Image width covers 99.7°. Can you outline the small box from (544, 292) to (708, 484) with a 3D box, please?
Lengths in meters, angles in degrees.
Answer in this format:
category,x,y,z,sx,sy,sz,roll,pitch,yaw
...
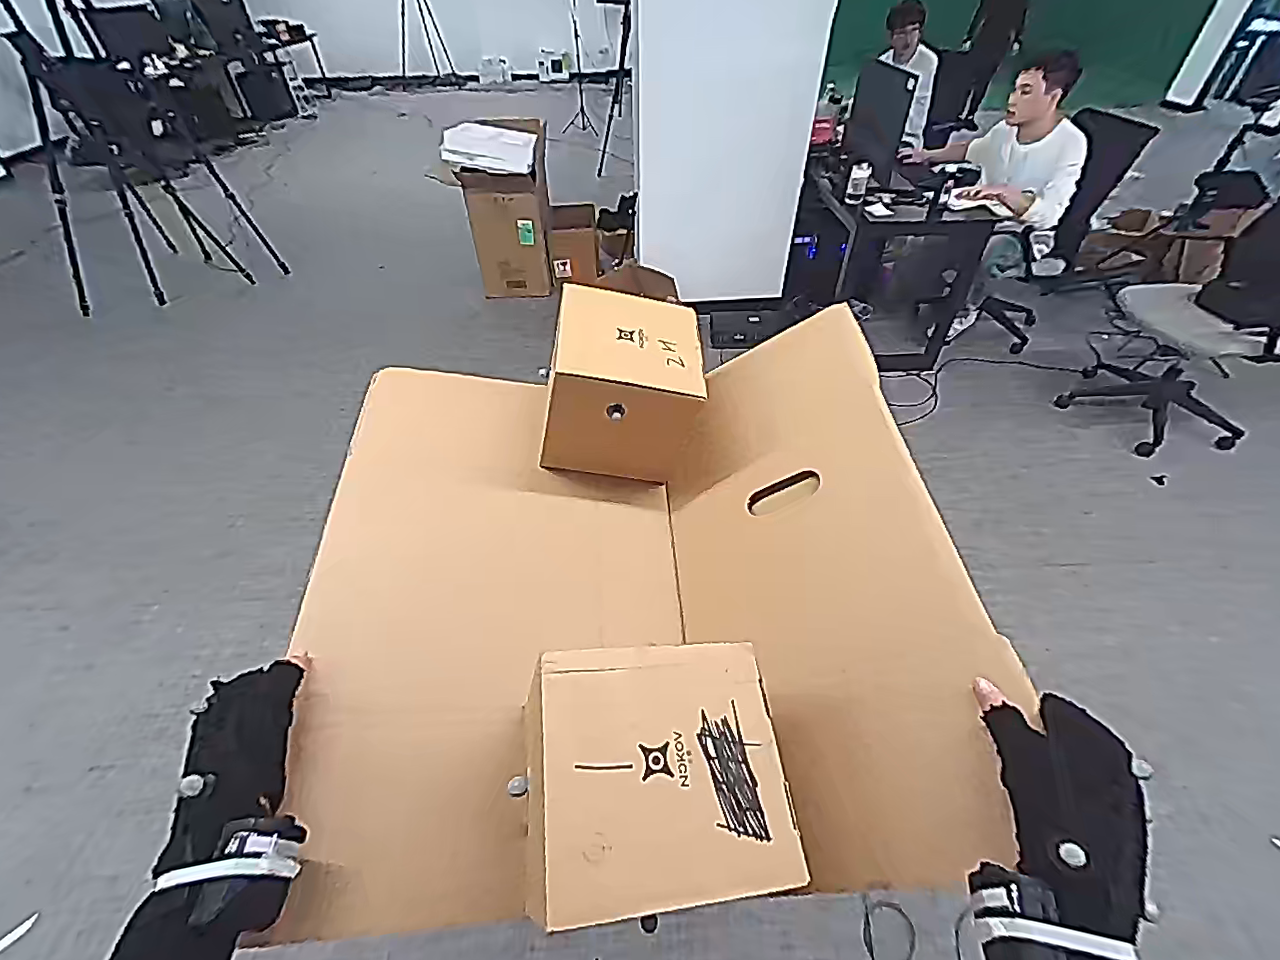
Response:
category,x,y,z,sx,sy,sz,roll,pitch,yaw
small box,-0.025,-0.112,0.706,0.179,0.176,0.168,9,52,-12
